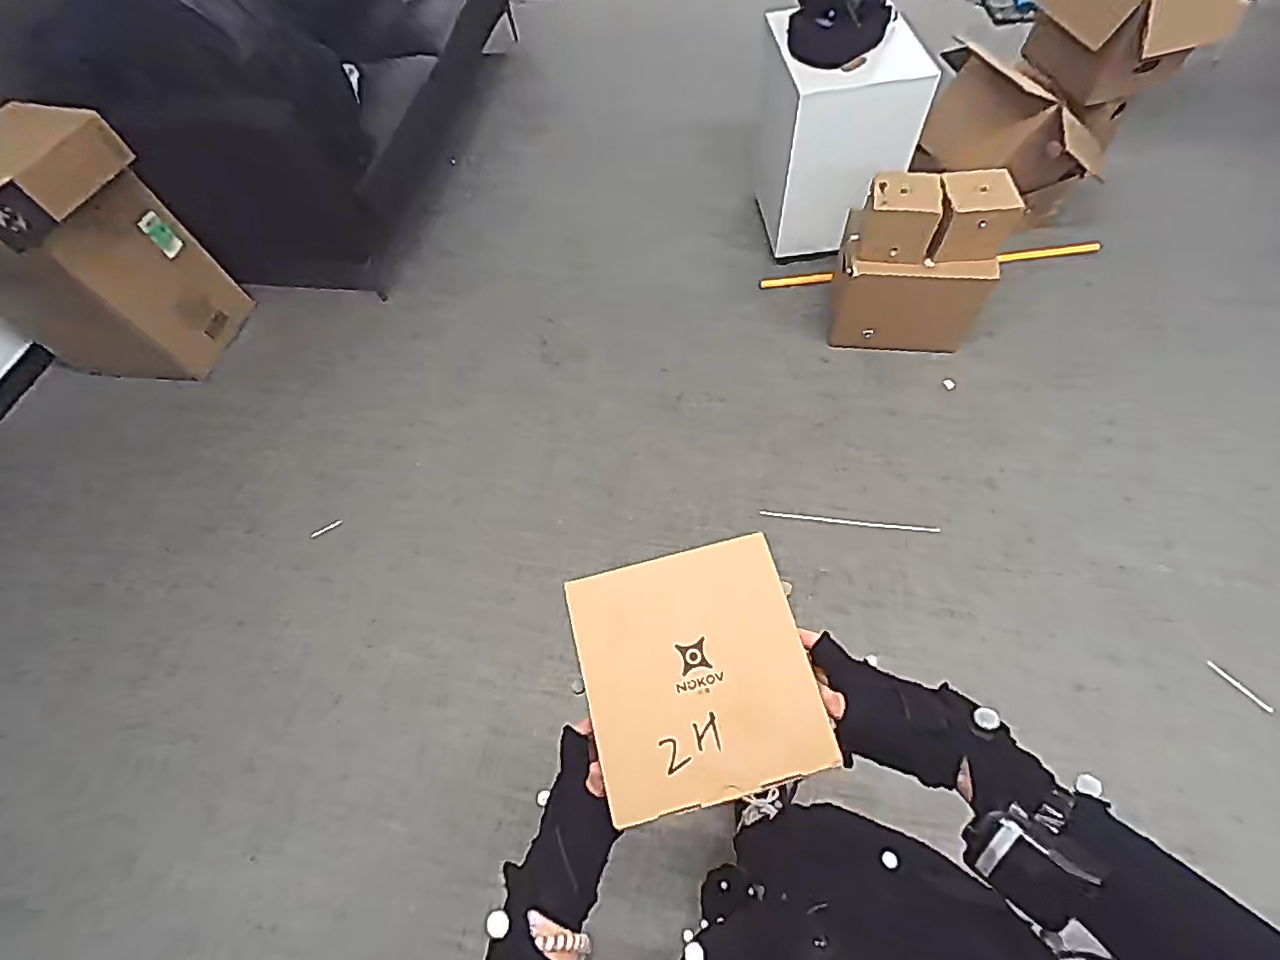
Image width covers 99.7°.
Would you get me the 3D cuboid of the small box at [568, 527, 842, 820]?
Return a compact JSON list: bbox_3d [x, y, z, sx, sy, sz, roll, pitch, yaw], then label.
[{"bbox_3d":[0.043,0.161,0.468,0.168,0.176,0.179,-14,69,-3],"label":"small box"}]
